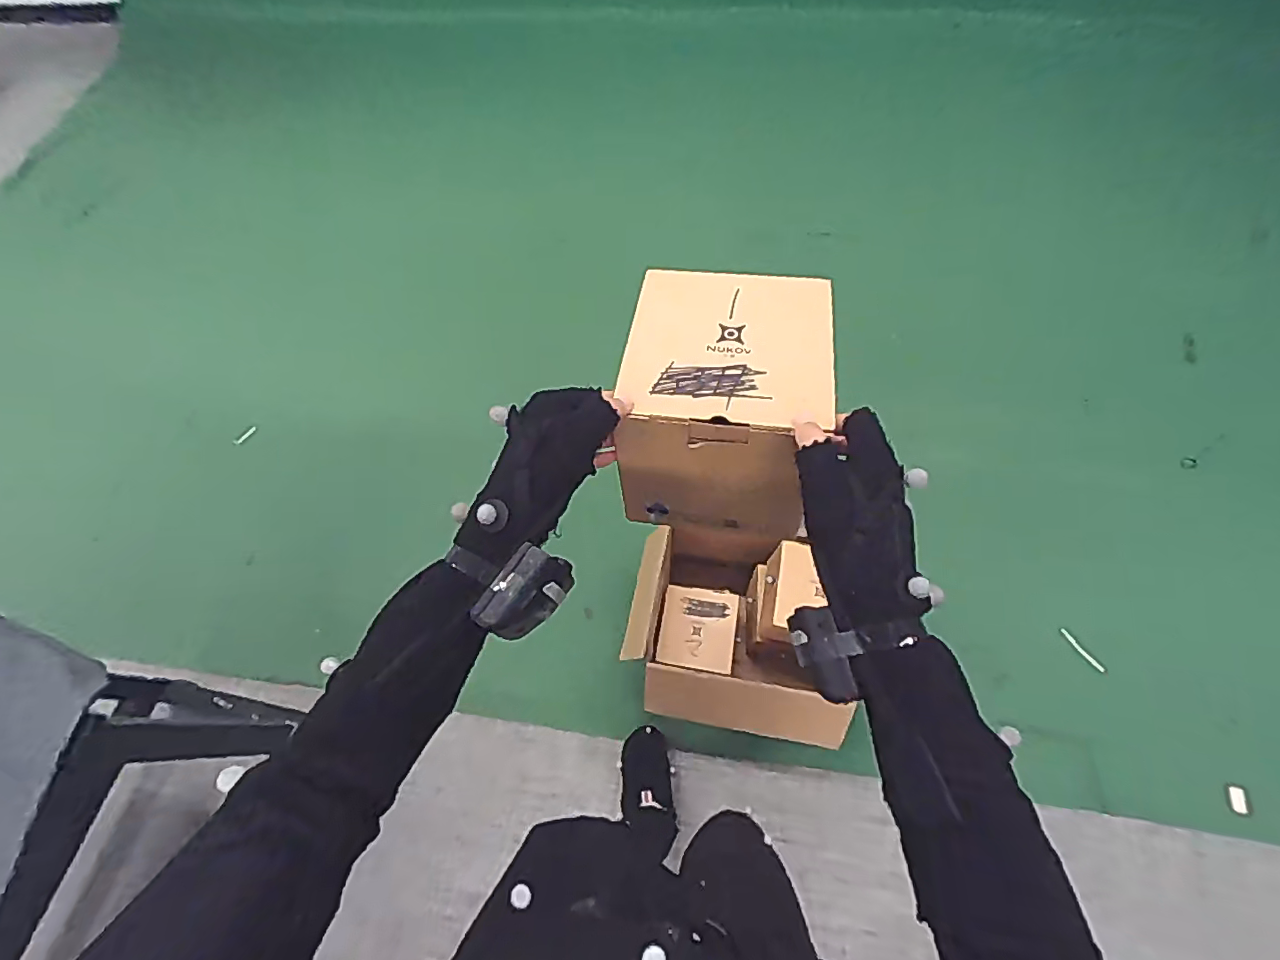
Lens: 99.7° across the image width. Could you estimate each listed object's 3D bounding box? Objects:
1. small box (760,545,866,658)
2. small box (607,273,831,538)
[{"bbox_3d":[0.348,0.255,1.110,0.168,0.176,0.179,11,66,7],"label":"small box"},{"bbox_3d":[0.075,-0.064,0.501,0.168,0.176,0.179,7,56,8],"label":"small box"}]
